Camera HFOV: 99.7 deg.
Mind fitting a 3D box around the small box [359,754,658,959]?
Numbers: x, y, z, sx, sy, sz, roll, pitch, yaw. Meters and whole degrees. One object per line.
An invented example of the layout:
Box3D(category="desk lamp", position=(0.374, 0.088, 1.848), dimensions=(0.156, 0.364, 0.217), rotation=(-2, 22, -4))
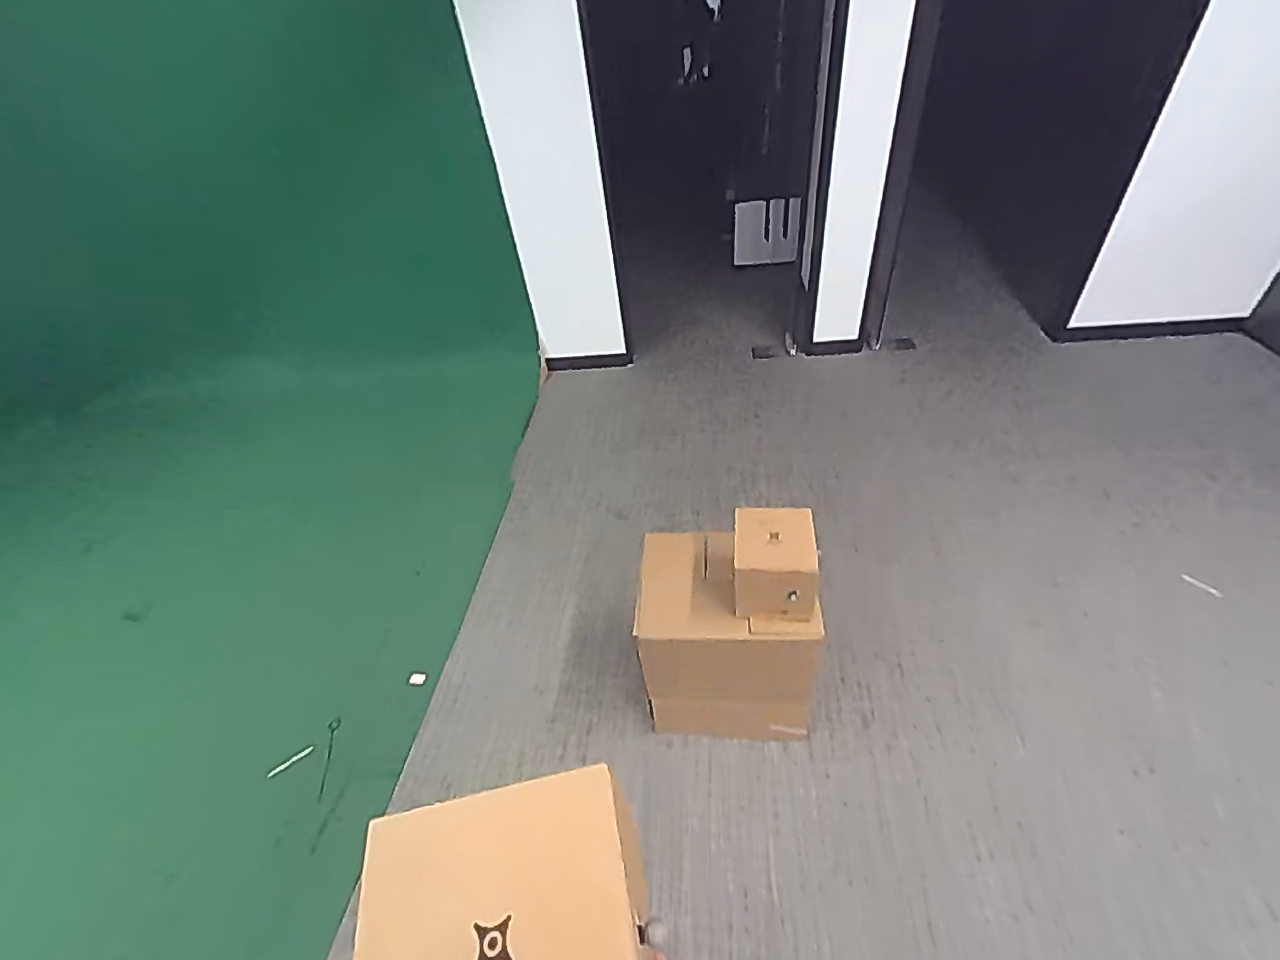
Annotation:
Box3D(category="small box", position=(-0.077, 0.323, 0.377), dimensions=(0.168, 0.176, 0.179), rotation=(-12, 48, -4))

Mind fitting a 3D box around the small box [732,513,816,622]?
Box3D(category="small box", position=(0.289, 0.190, 1.177), dimensions=(0.168, 0.176, 0.179), rotation=(0, 40, 11))
